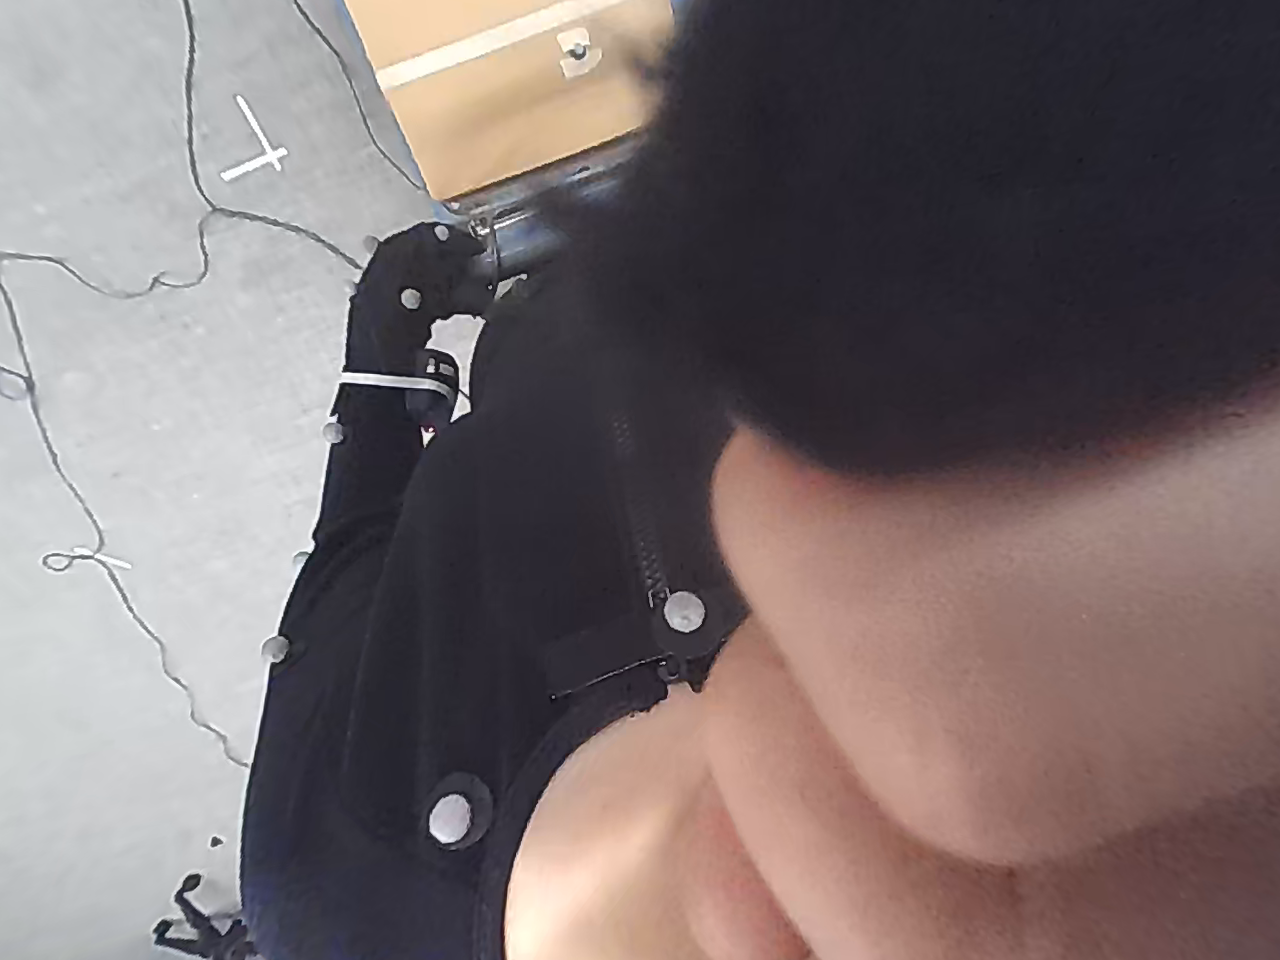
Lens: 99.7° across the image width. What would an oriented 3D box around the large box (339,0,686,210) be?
[{"bbox_3d":[-0.183,-0.657,0.856,0.408,0.320,0.320,-19,118,2],"label":"large box"}]
